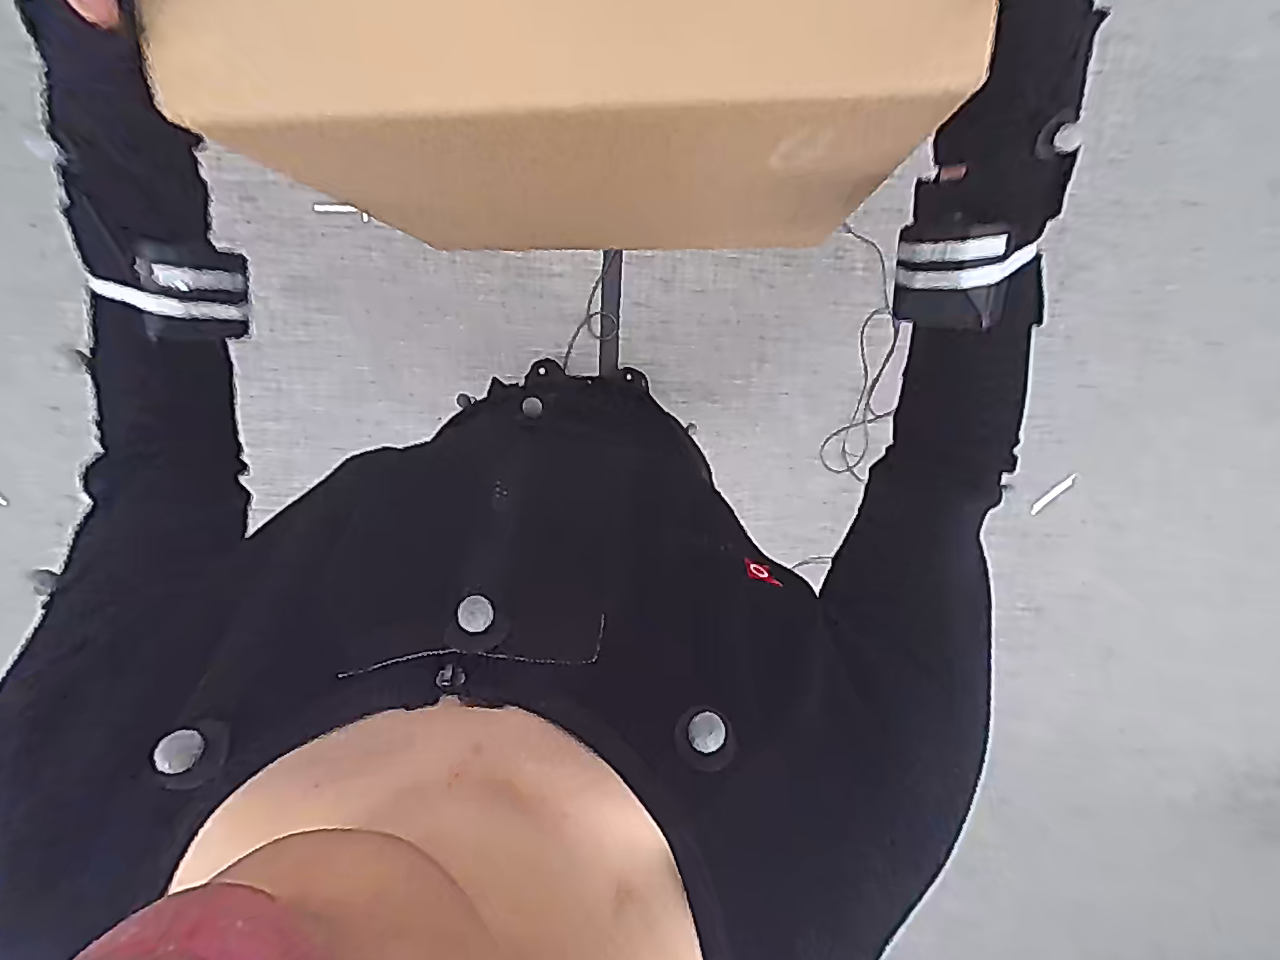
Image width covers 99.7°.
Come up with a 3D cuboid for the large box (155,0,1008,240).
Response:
[{"bbox_3d":[-0.028,-0.373,0.375,0.408,0.320,0.320,1,101,4],"label":"large box"}]
